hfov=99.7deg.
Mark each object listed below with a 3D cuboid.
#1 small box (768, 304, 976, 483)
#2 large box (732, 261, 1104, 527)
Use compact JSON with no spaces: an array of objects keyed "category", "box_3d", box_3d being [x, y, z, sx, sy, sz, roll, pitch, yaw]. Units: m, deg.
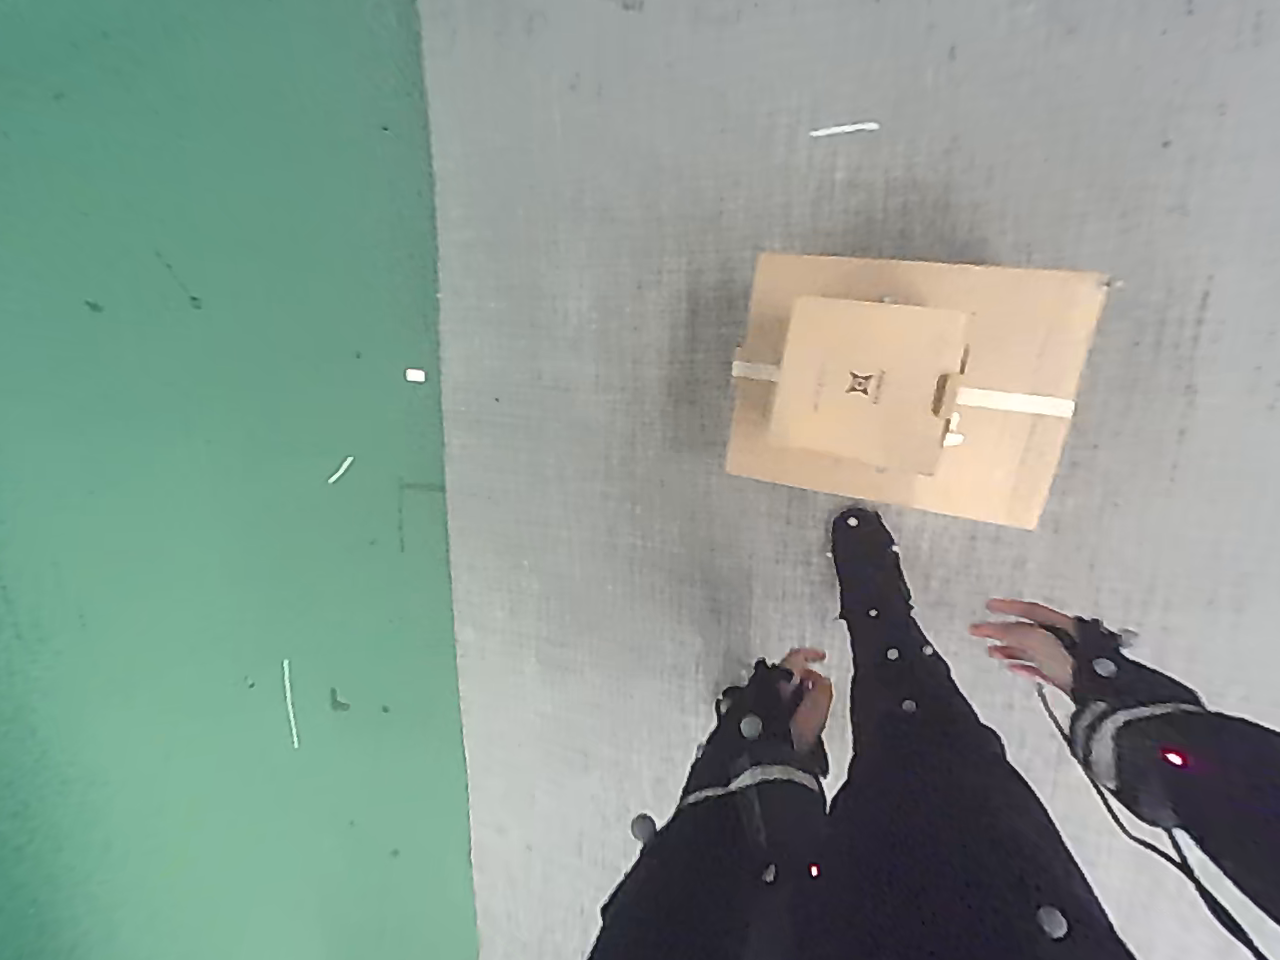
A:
[{"category":"small box","box_3d":[0.261,-0.104,0.639,0.179,0.176,0.168,12,102,18]},{"category":"large box","box_3d":[0.381,-0.142,0.851,0.408,0.320,0.320,10,104,17]}]
